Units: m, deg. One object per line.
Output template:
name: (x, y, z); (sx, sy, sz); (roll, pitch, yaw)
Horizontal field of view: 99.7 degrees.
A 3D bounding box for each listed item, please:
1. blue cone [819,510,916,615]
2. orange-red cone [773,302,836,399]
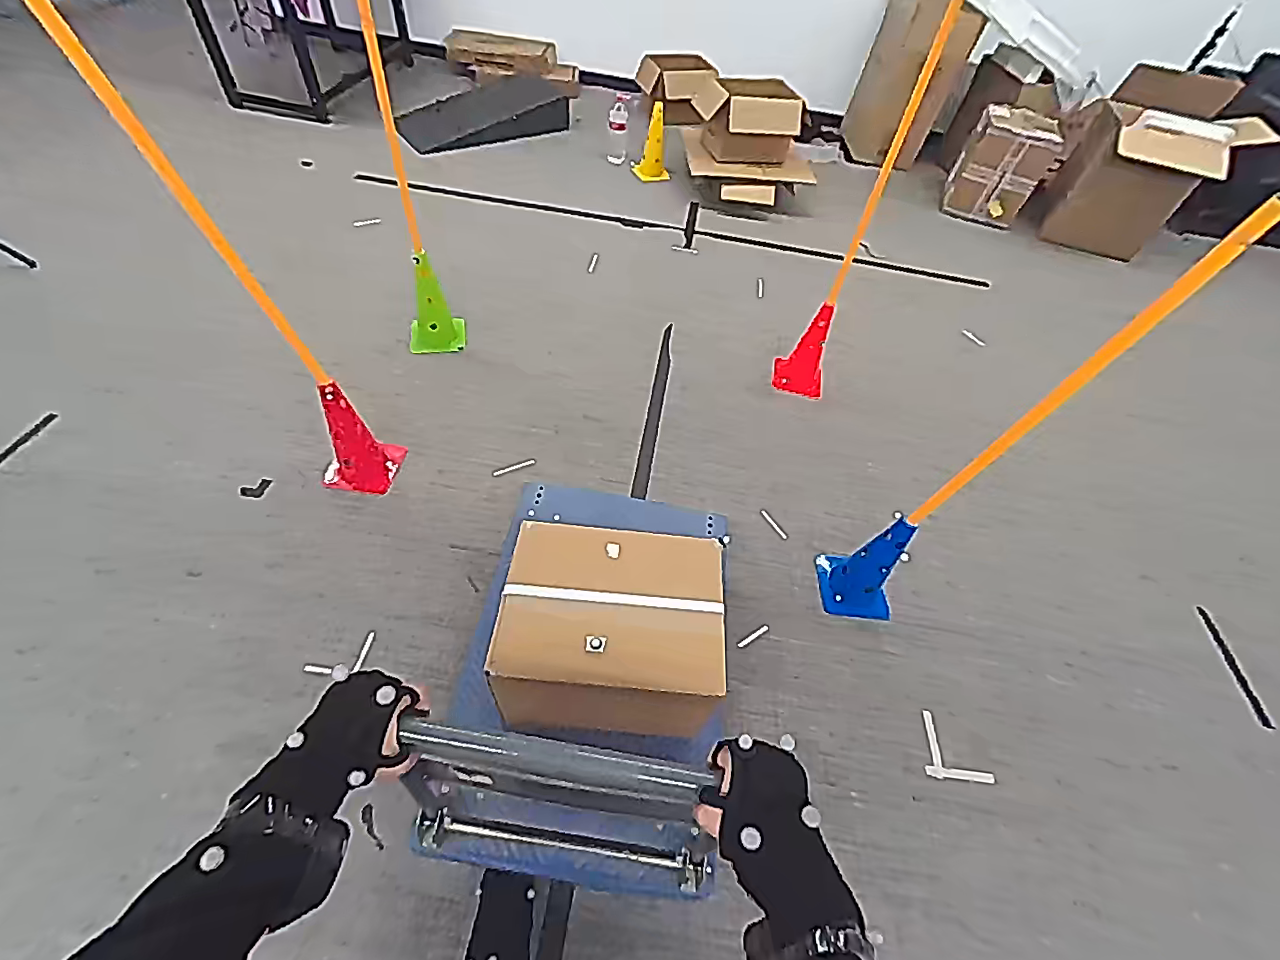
blue cone: (0.664, 0.213, 1.508); (0.193, 0.380, 0.192); (7, 51, -3)
orange-red cone: (0.663, -0.515, 2.056); (0.199, 0.360, 0.198); (16, 53, 3)
